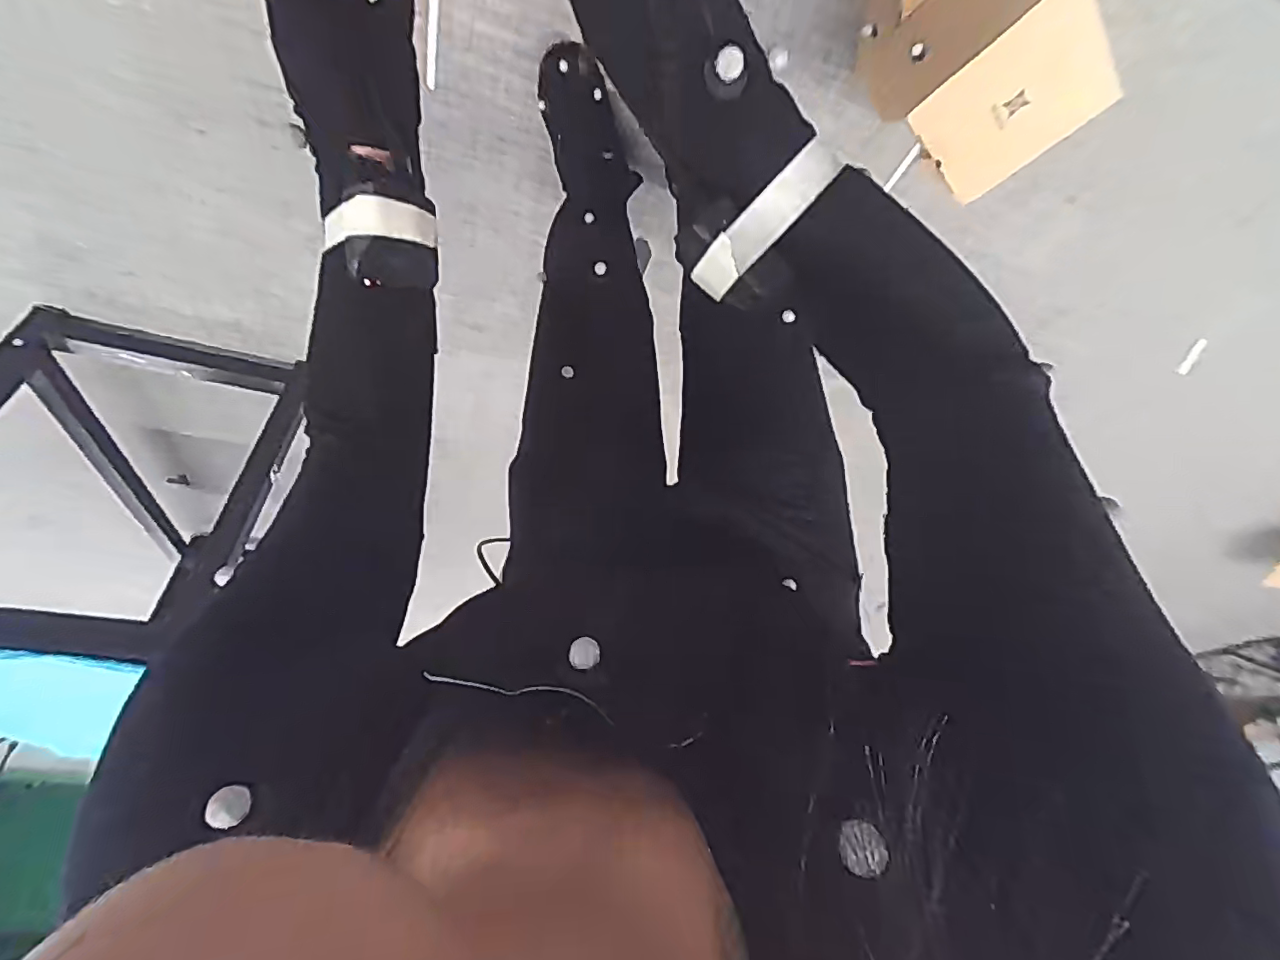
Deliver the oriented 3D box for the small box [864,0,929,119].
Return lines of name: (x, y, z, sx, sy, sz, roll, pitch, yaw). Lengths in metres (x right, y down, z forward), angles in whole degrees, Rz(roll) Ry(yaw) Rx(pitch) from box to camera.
small box: (0.413, -0.628, 0.724, 0.179, 0.176, 0.168, -8, 145, 11)

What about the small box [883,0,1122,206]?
small box: (0.413, -0.483, 0.644, 0.168, 0.176, 0.179, 26, 138, -35)
